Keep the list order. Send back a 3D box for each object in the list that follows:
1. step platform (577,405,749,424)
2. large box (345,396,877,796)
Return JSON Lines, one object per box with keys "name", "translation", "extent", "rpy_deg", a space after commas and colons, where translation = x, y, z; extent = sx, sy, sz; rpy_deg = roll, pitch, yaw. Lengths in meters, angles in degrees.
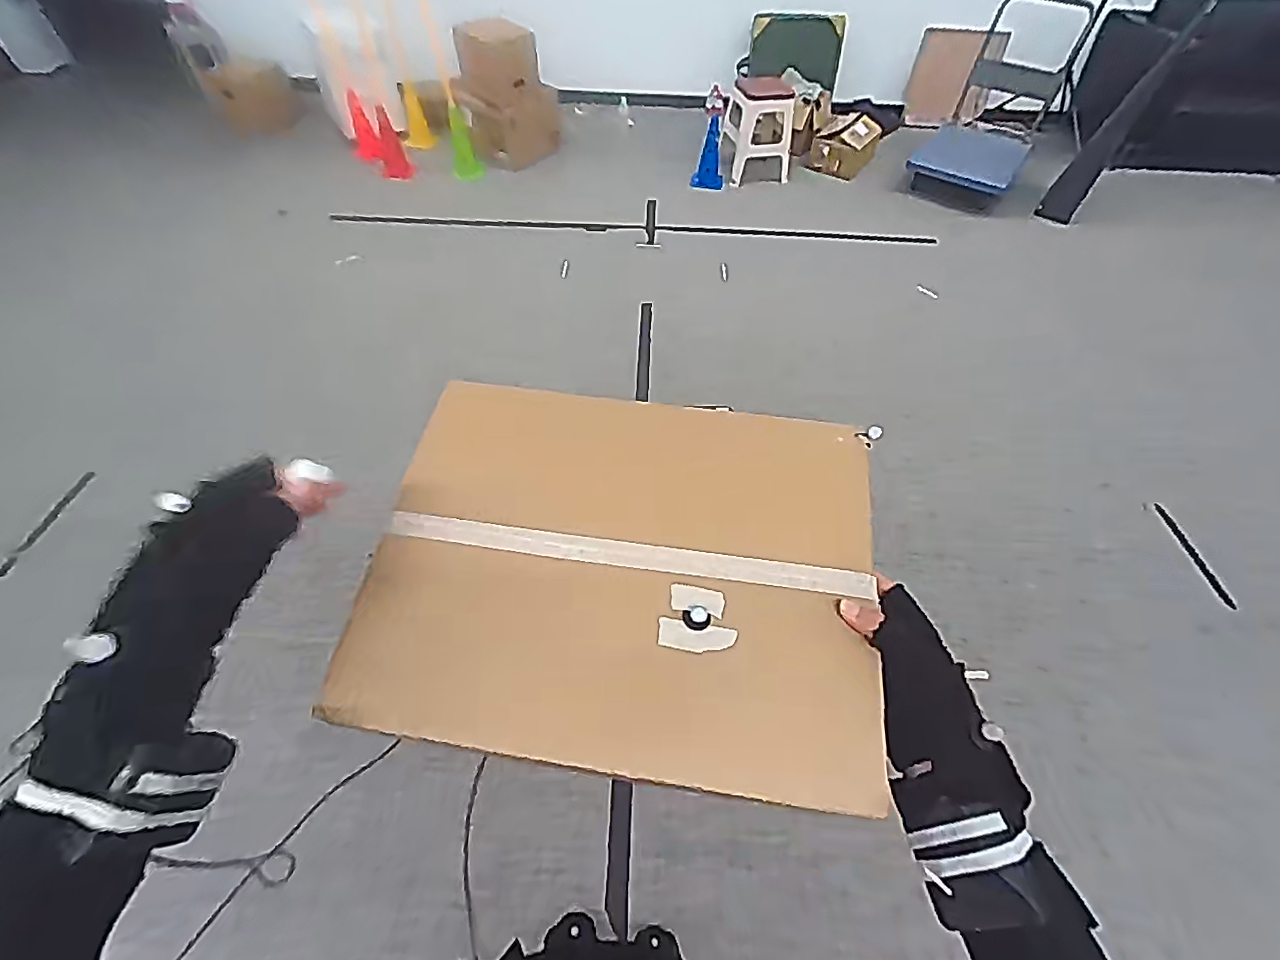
{"name": "step platform", "translation": [0.044, -0.092, 1.856], "extent": [0.684, 0.204, 0.286], "rpy_deg": [1, 51, -3]}
{"name": "large box", "translation": [-0.007, 0.139, 0.593], "extent": [0.408, 0.320, 0.320], "rpy_deg": [7, 62, 6]}
